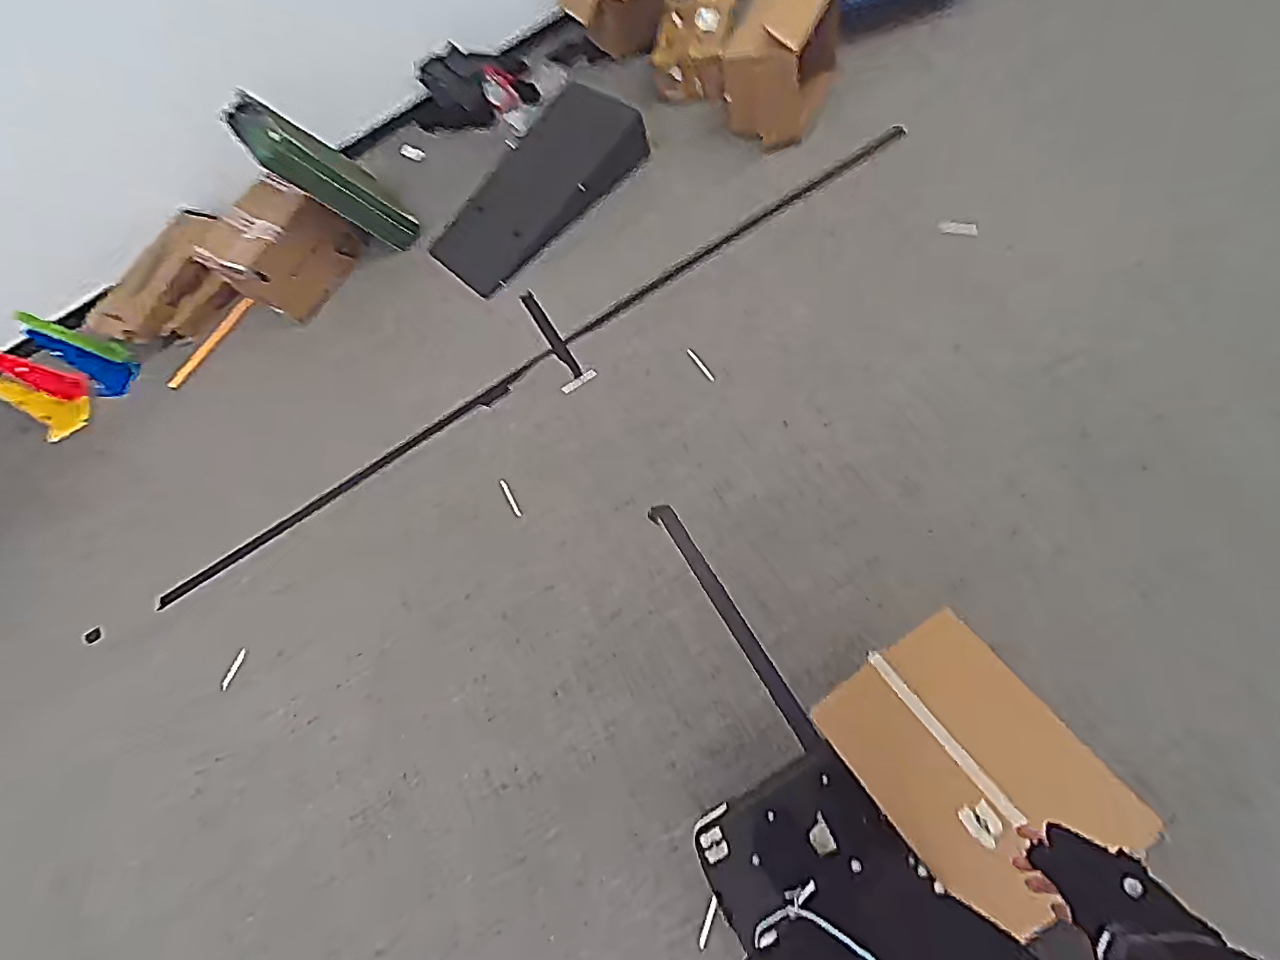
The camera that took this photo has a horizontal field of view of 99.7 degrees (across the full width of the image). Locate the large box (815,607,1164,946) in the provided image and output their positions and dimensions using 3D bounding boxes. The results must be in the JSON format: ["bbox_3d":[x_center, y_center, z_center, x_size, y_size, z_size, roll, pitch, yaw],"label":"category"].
[{"bbox_3d":[0.580,0.501,1.009,0.320,0.320,0.408,-40,64,3],"label":"large box"}]
